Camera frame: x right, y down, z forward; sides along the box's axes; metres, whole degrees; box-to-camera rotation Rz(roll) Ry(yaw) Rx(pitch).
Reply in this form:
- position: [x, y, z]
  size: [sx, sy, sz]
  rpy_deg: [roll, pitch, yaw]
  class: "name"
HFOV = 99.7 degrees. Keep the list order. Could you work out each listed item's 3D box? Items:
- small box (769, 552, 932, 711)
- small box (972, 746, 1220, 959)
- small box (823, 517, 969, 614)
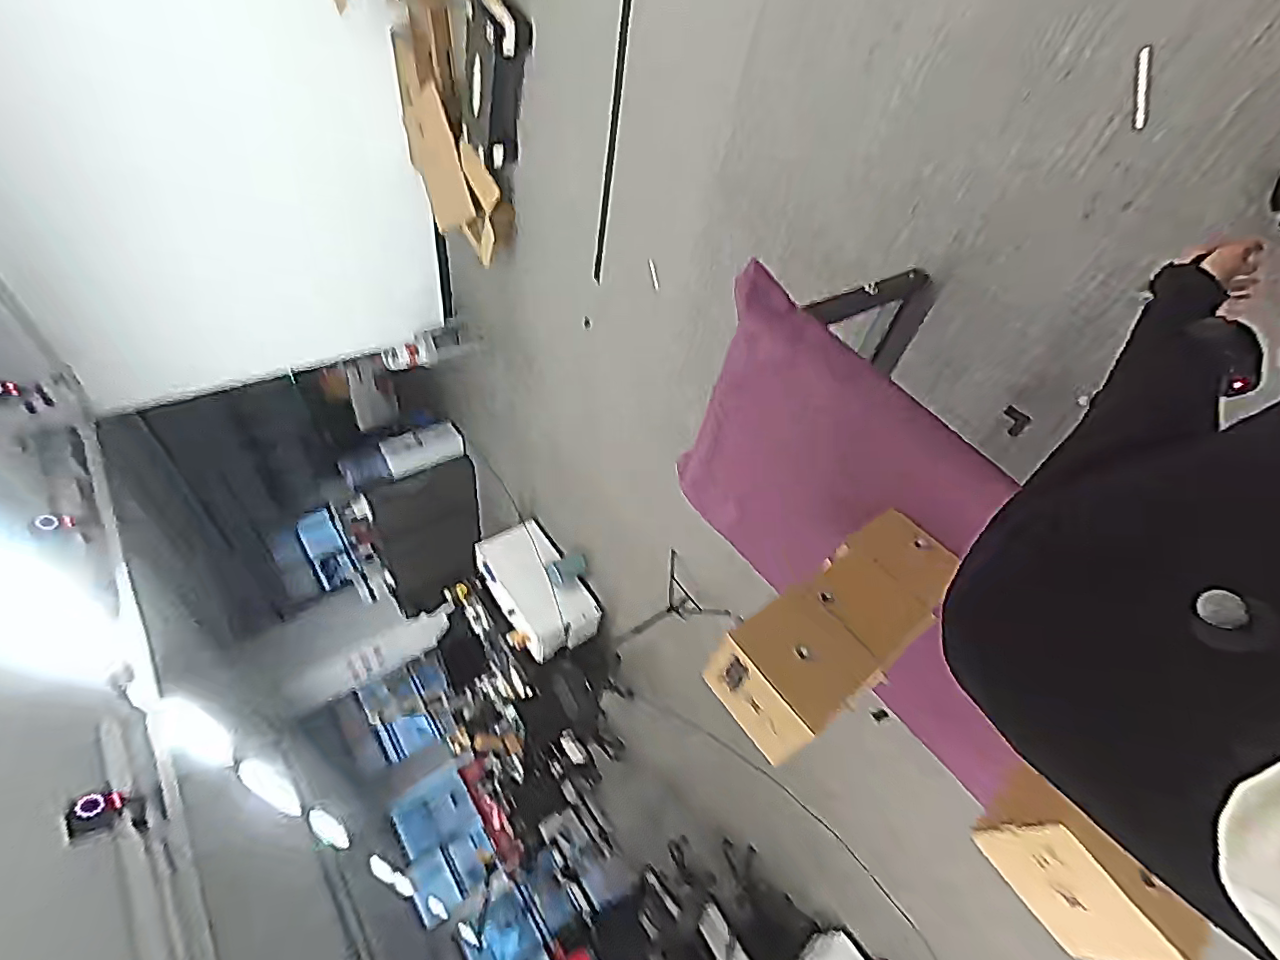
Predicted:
- position: [0.366, 0.259, 0.948]
  size: [0.179, 0.176, 0.168]
  rpy_deg: [46, 146, 29]
  class: "small box"
- position: [0.614, 0.502, 0.735]
  size: [0.179, 0.176, 0.168]
  rpy_deg: [52, 147, 21]
  class: "small box"
- position: [0.481, 0.192, 1.045]
  size: [0.179, 0.176, 0.168]
  rpy_deg: [47, 147, 29]
  class: "small box"
